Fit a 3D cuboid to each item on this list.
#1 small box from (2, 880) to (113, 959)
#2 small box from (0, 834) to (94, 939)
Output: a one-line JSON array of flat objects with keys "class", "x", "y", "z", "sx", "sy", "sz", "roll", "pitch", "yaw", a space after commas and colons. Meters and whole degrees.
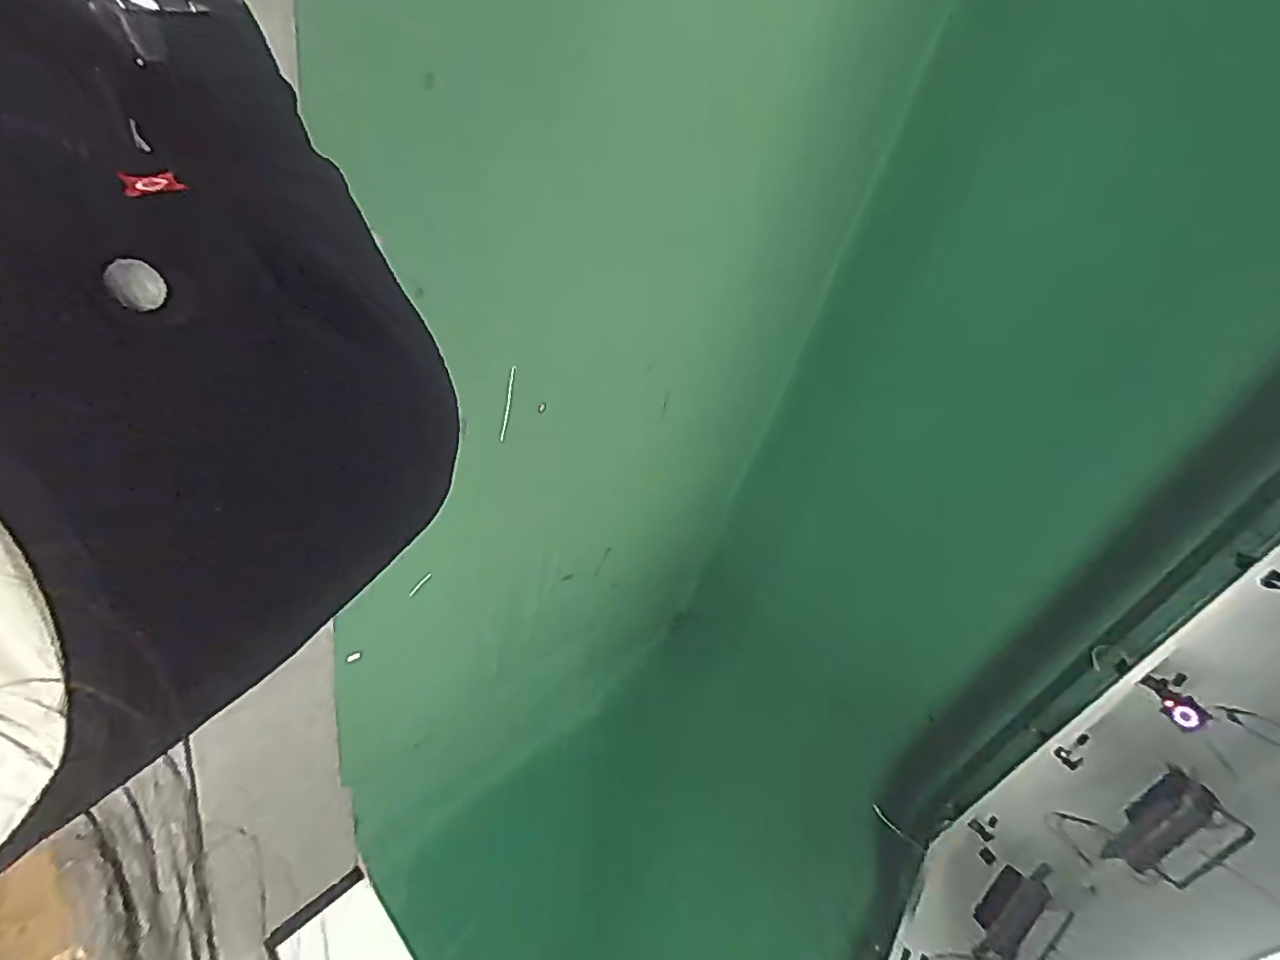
[{"class": "small box", "x": -1.600, "y": 1.265, "z": 1.485, "sx": 0.179, "sy": 0.176, "sz": 0.168, "roll": -20, "pitch": 137, "yaw": -48}, {"class": "small box", "x": -1.720, "y": 1.181, "z": 1.556, "sx": 0.179, "sy": 0.176, "sz": 0.168, "roll": -23, "pitch": 139, "yaw": -44}]
